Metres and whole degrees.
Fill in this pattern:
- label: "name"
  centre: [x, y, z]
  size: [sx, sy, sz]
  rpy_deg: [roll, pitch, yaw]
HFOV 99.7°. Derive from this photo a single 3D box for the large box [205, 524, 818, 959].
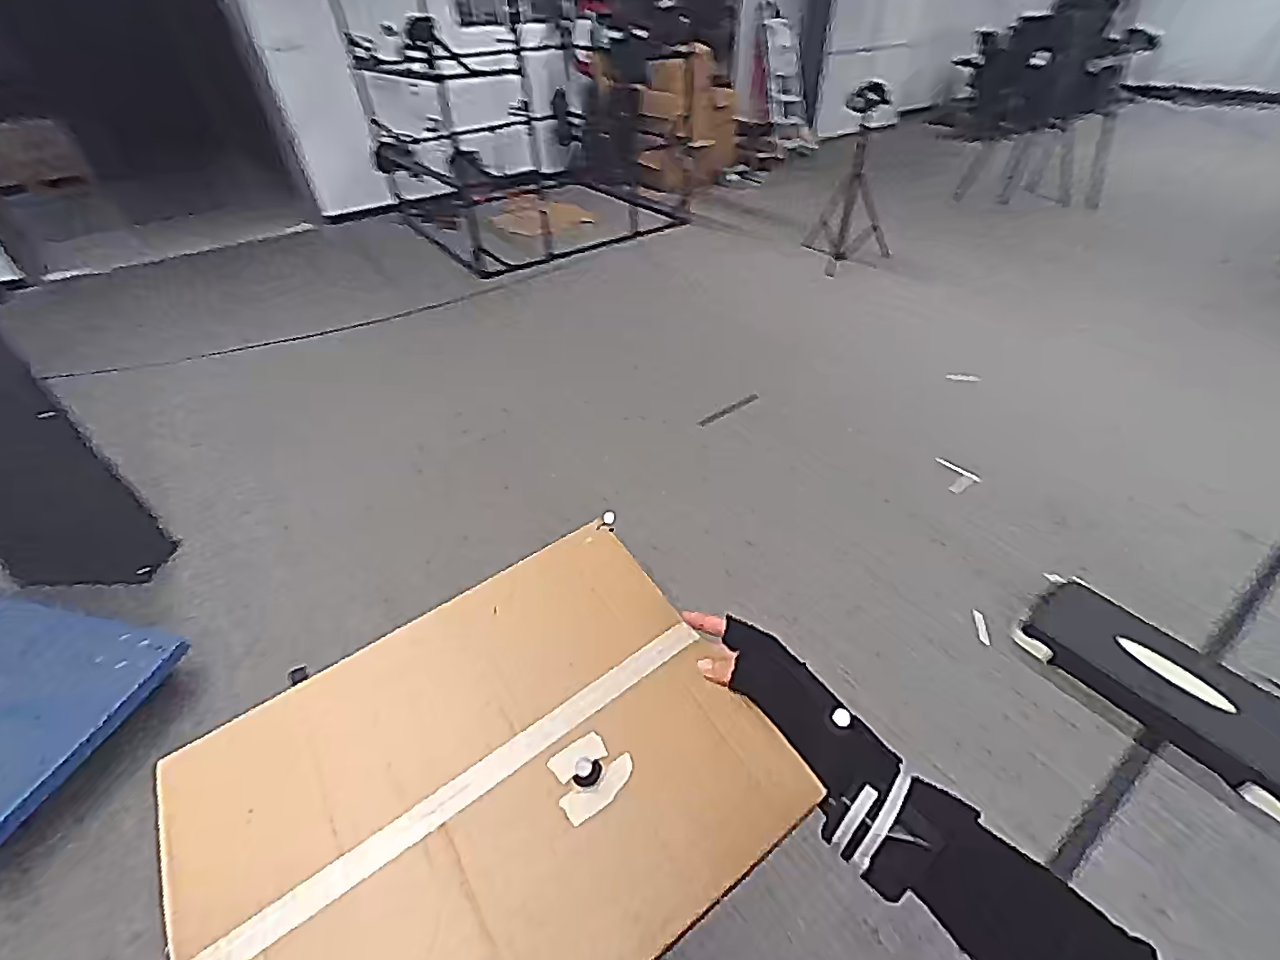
- label: "large box"
  centre: [-0.104, 0.324, 0.534]
  size: [0.408, 0.320, 0.320]
  rpy_deg: [-28, 53, -21]
